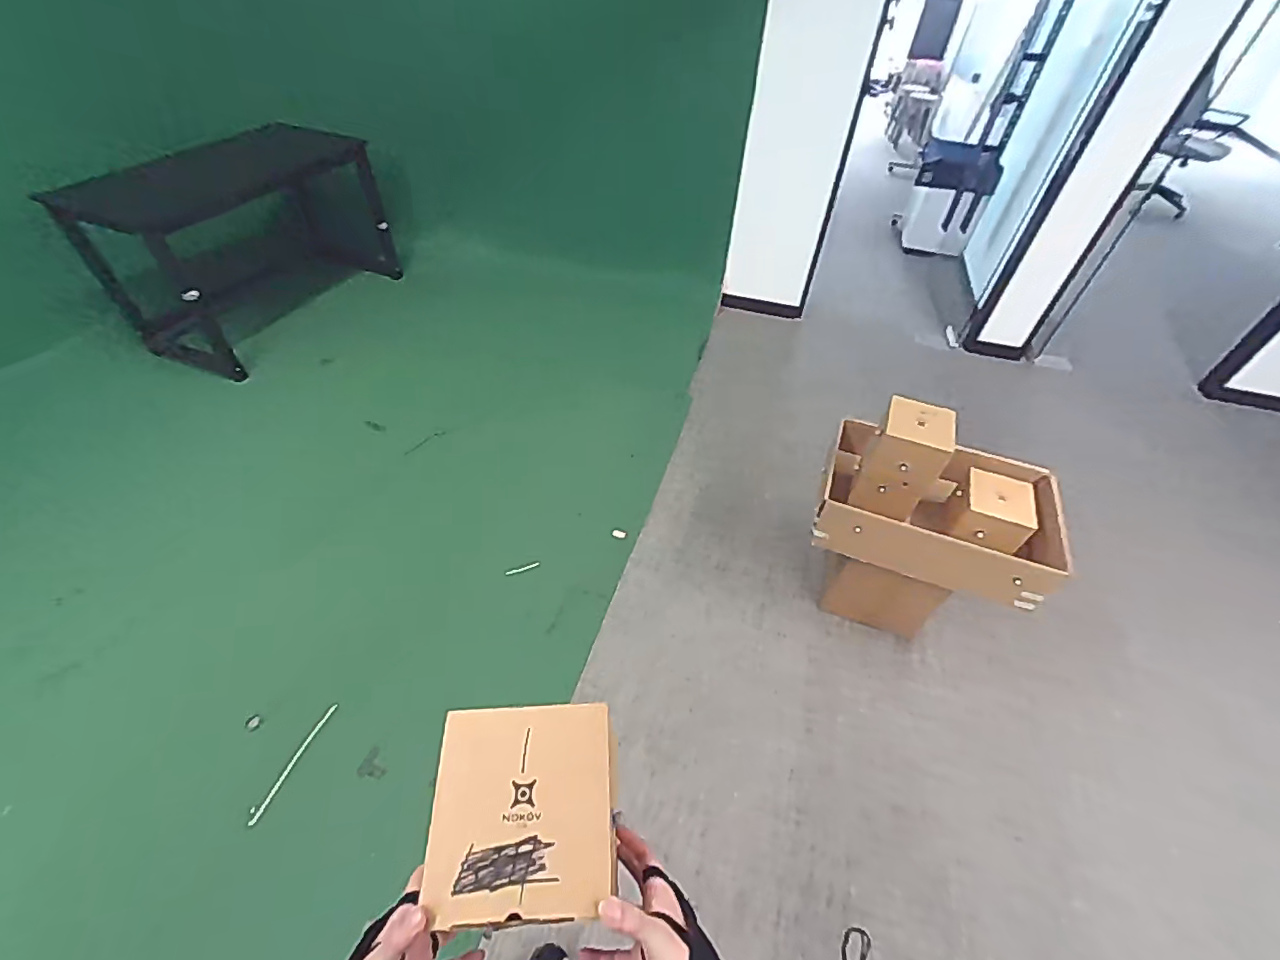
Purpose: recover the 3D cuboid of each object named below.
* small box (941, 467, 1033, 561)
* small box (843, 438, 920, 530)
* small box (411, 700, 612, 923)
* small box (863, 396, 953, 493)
[{"bbox_3d":[0.970,0.100,1.523,0.168,0.176,0.179,18,48,14],"label":"small box"},{"bbox_3d":[0.713,0.012,1.587,0.168,0.176,0.179,19,48,15],"label":"small box"},{"bbox_3d":[-0.115,0.345,0.568,0.168,0.176,0.179,-1,53,-1],"label":"small box"},{"bbox_3d":[0.720,-0.094,1.462,0.168,0.176,0.179,19,49,13],"label":"small box"}]
